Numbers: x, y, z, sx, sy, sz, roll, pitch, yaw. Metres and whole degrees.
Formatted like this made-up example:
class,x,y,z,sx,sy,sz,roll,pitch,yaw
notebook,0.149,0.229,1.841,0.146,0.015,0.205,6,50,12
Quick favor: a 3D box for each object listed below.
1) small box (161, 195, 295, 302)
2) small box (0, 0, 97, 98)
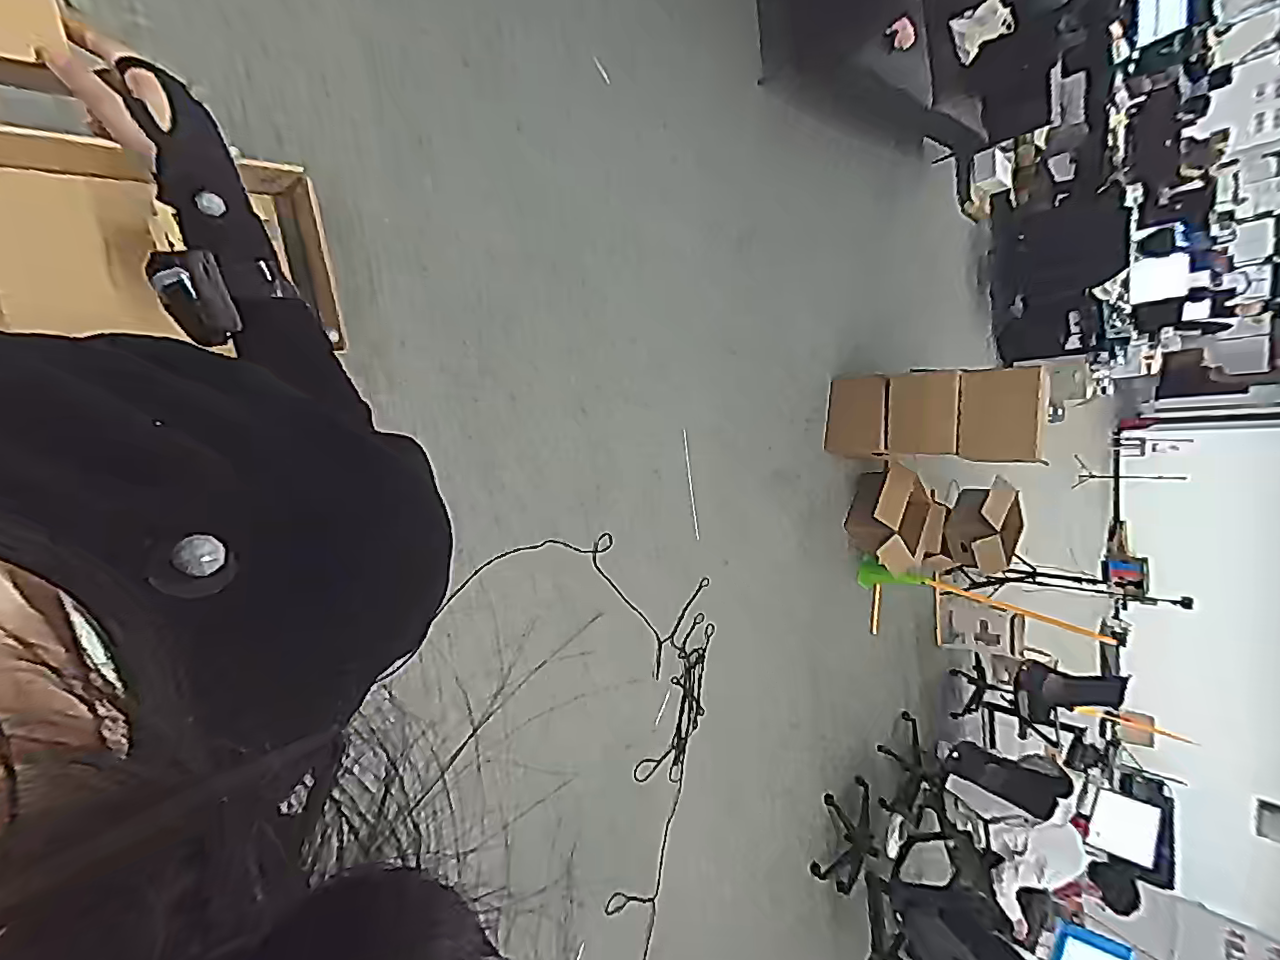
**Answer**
class,x,y,z,sx,sy,sz,roll,pitch,yaw
small box,-0.855,-0.477,1.126,0.179,0.176,0.168,-24,108,-38
small box,-0.493,-0.364,0.342,0.179,0.176,0.168,-14,120,-36
